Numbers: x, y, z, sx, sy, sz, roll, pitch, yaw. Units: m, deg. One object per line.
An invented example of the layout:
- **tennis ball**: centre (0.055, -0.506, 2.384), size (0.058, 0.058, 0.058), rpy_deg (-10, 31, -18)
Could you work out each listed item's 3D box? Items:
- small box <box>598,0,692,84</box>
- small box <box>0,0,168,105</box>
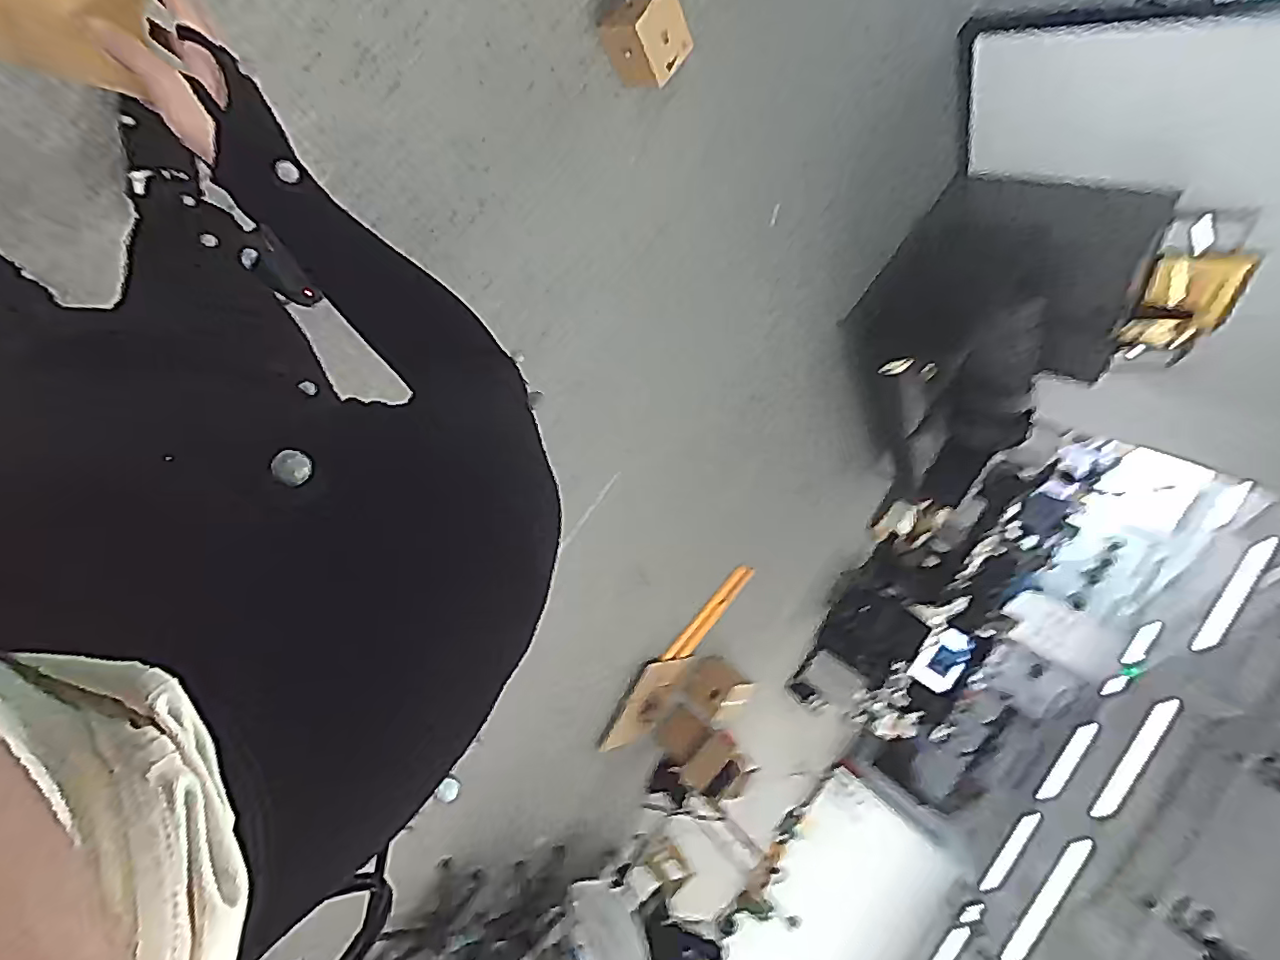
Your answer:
- **small box**: centre (0.013, -1.267, 1.539), size (0.168, 0.176, 0.179), rpy_deg (-53, 142, -5)
- **small box**: centre (-0.464, -0.420, 0.391), size (0.168, 0.176, 0.179), rpy_deg (-10, 137, -43)
